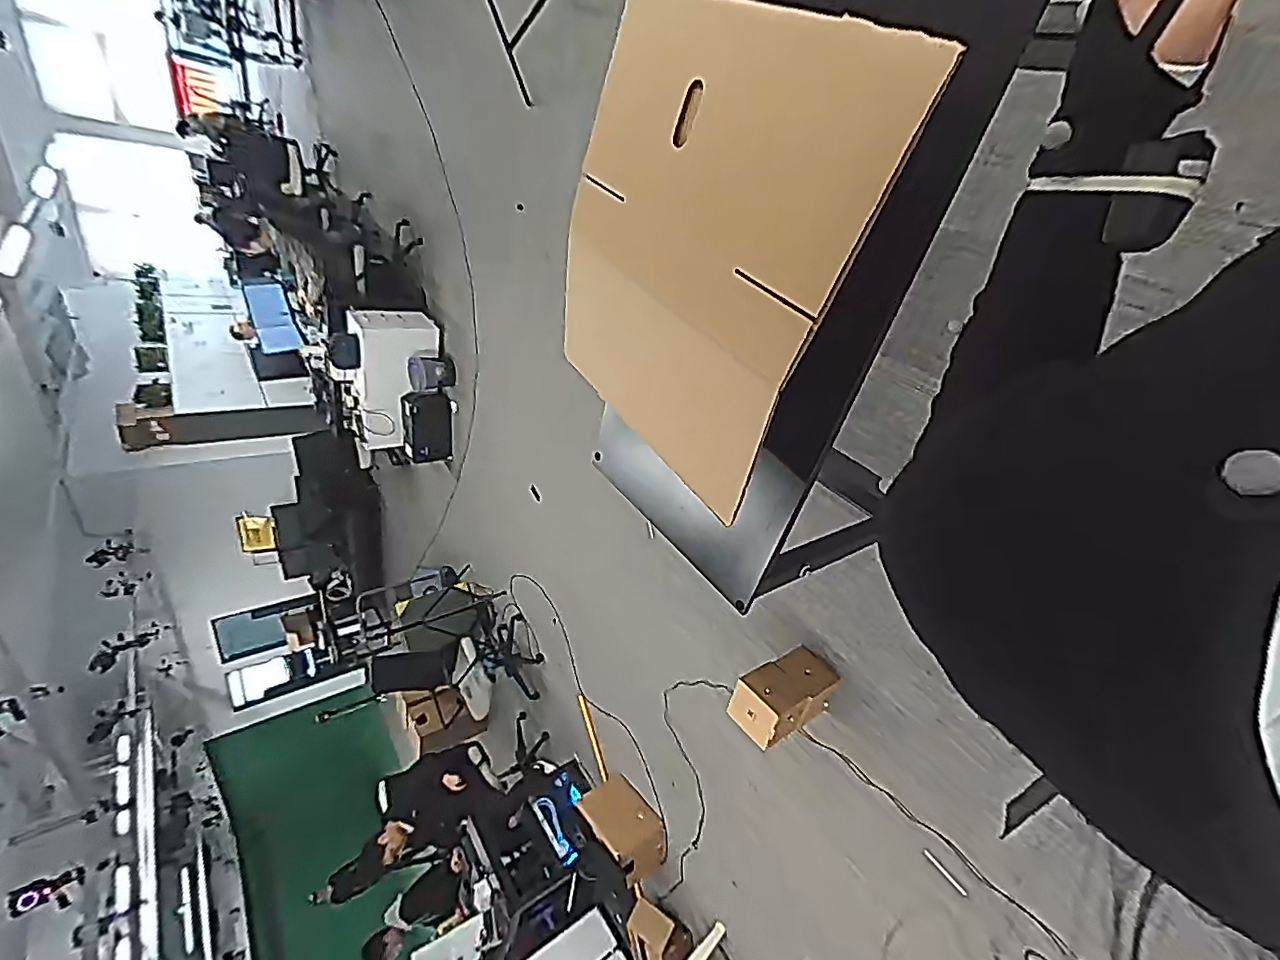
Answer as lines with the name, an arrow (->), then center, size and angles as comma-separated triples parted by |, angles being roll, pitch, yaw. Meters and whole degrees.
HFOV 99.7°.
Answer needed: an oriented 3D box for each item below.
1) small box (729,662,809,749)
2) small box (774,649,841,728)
small box -> 0.429, 0.737, 1.790 | 0.179, 0.176, 0.168 | 38, 127, 42
small box -> 0.561, 0.714, 1.884 | 0.179, 0.176, 0.168 | 39, 129, 39
